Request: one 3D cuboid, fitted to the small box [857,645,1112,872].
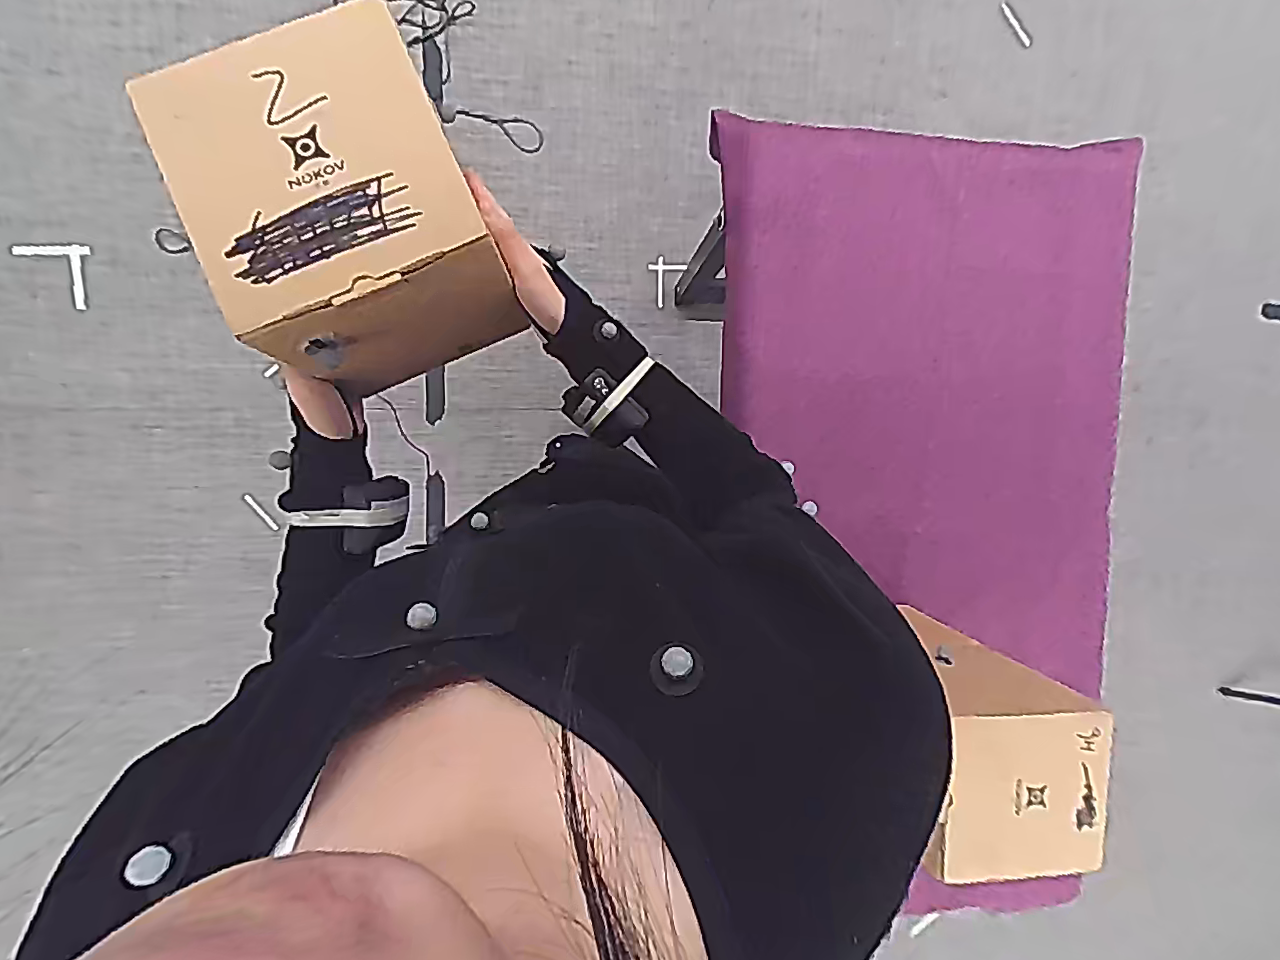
[{"bbox_3d":[0.363,0.293,0.602,0.179,0.176,0.168,1,94,-6],"label":"small box"}]
